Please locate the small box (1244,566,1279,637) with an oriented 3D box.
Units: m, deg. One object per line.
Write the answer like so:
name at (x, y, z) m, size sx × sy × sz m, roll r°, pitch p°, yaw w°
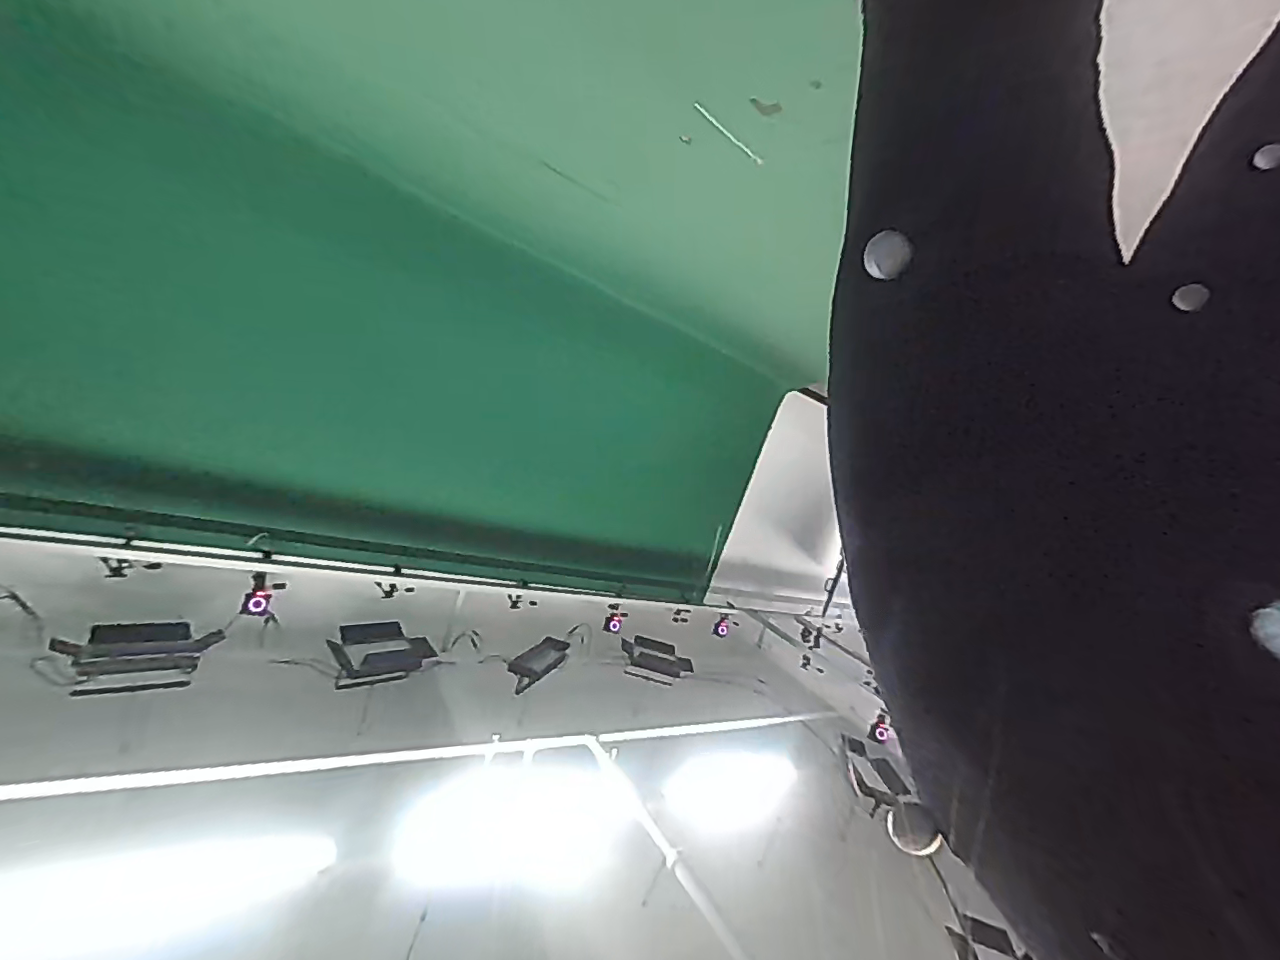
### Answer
small box at (1.703, 0.334, 1.378) m, size 0.179 × 0.176 × 0.168 m, roll 16°, pitch -173°, yaw -37°
